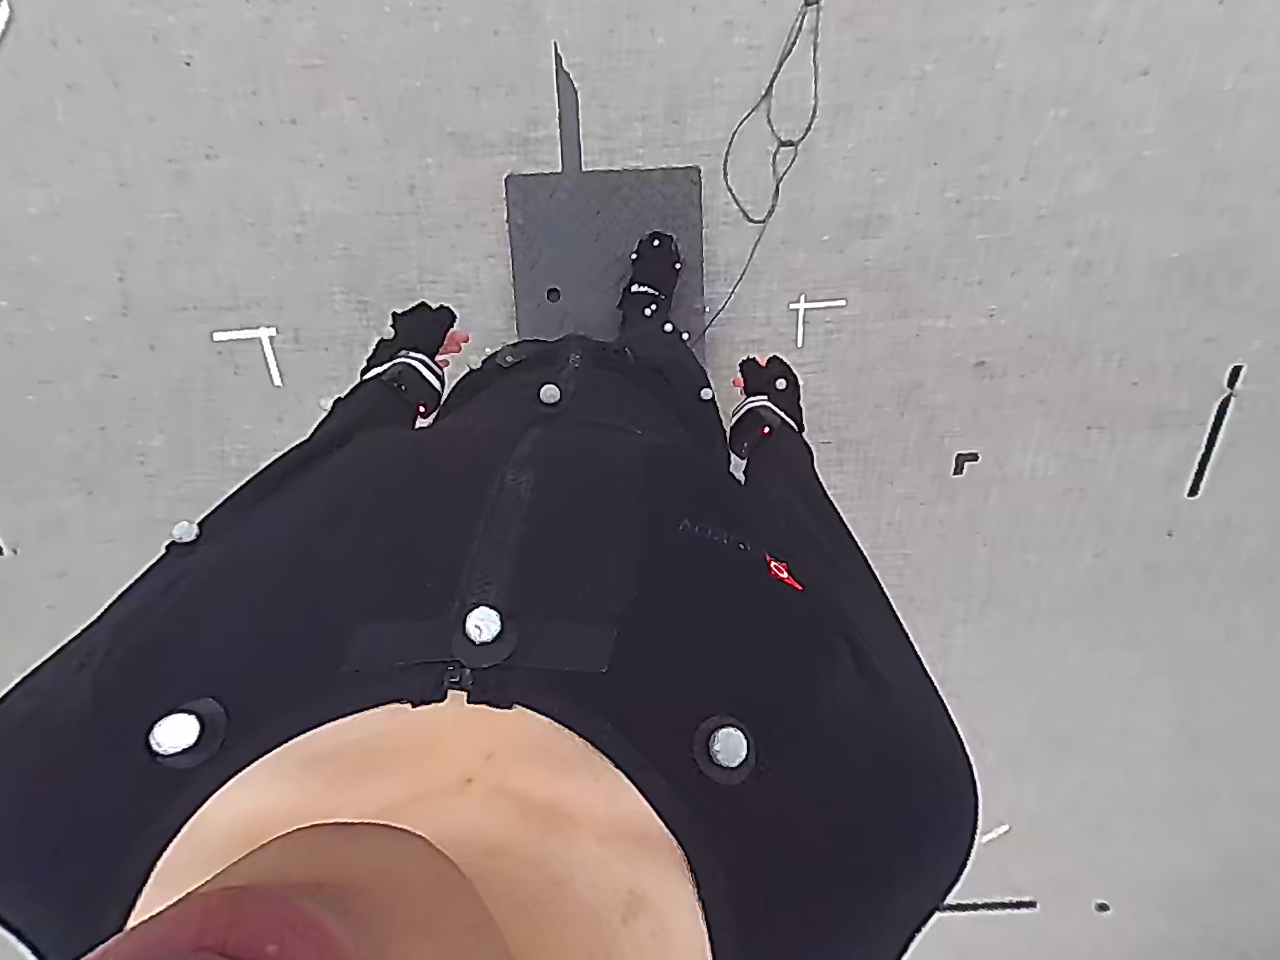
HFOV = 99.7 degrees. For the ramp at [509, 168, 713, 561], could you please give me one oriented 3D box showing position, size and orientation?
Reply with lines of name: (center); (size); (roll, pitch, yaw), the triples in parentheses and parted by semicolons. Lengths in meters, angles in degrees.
ramp: (-0.066, -0.277, 1.430); (0.509, 0.206, 0.991); (-4, 109, 2)
